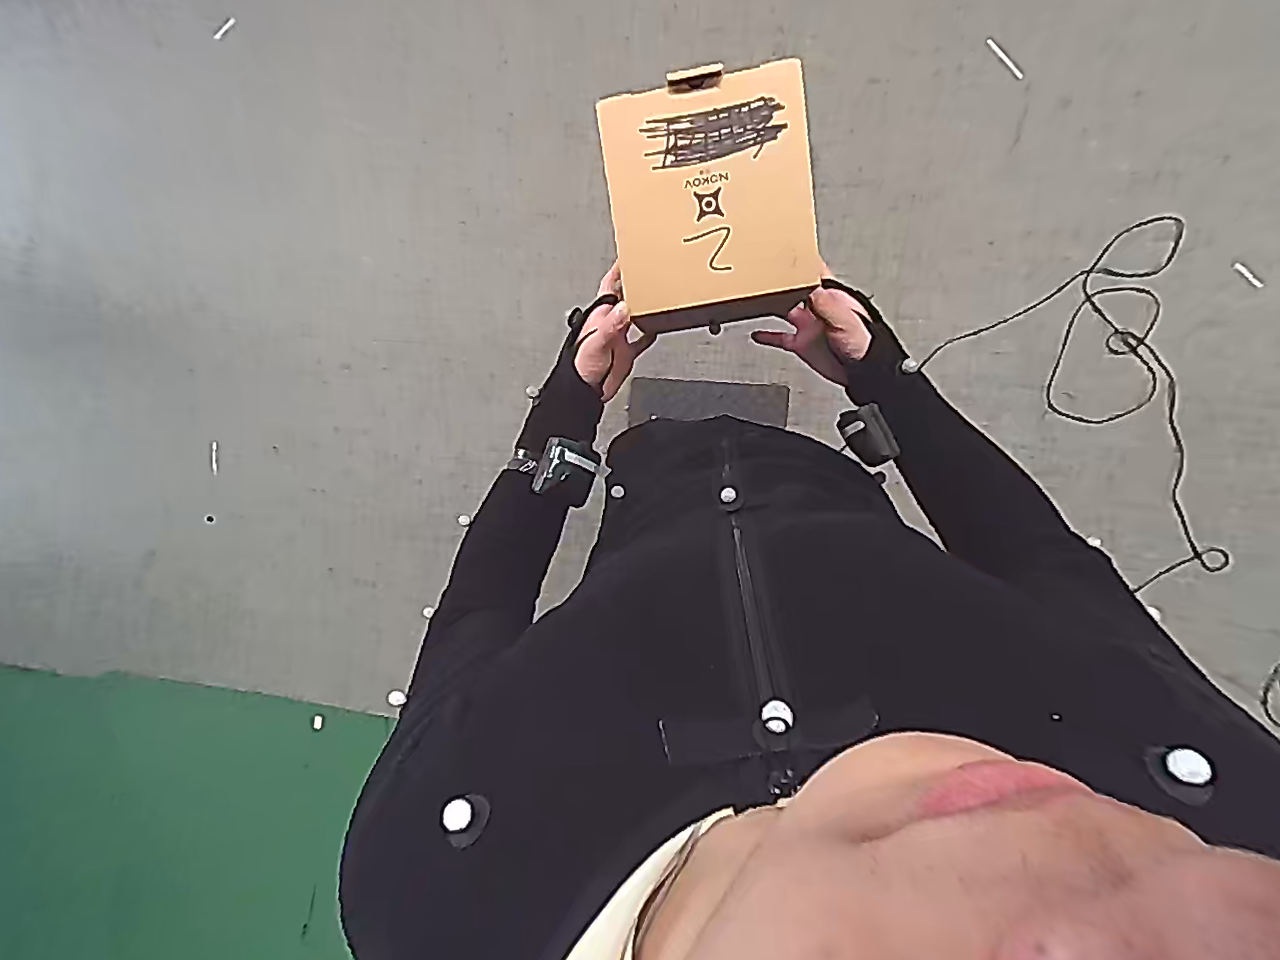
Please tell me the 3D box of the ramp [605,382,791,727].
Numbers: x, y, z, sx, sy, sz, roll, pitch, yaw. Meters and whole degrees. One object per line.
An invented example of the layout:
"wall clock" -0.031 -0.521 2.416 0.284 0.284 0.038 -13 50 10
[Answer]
"ramp" 0.175 0.202 1.633 0.509 0.206 0.991 3 96 9
